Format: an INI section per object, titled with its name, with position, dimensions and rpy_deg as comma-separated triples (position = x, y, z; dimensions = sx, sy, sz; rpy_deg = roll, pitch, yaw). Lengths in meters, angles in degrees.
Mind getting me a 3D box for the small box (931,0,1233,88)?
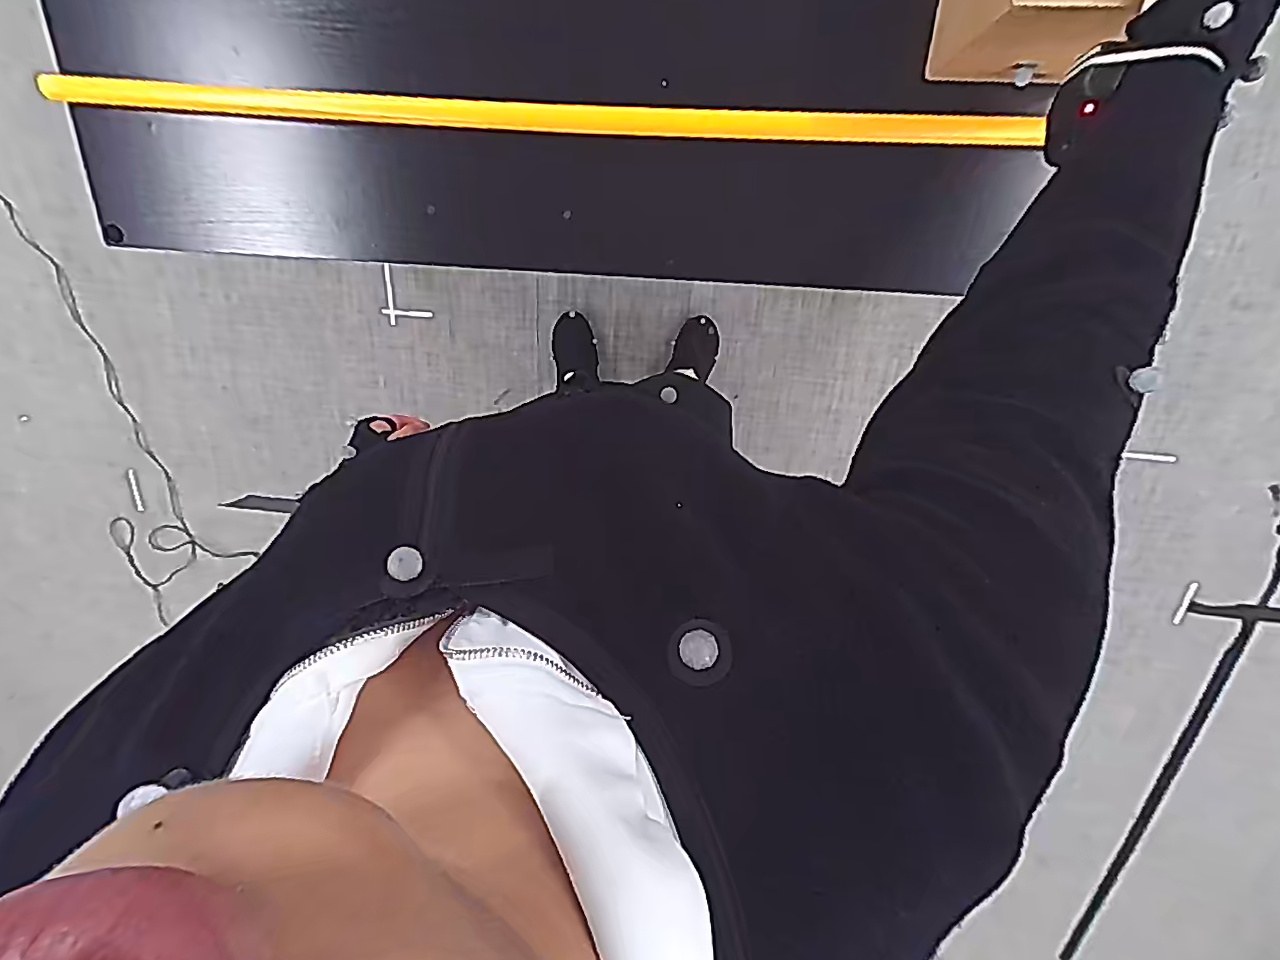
[small box]
position = 0.379, -0.469, 0.461
dimensions = 0.168, 0.176, 0.179
rpy_deg = 5, 111, 4
